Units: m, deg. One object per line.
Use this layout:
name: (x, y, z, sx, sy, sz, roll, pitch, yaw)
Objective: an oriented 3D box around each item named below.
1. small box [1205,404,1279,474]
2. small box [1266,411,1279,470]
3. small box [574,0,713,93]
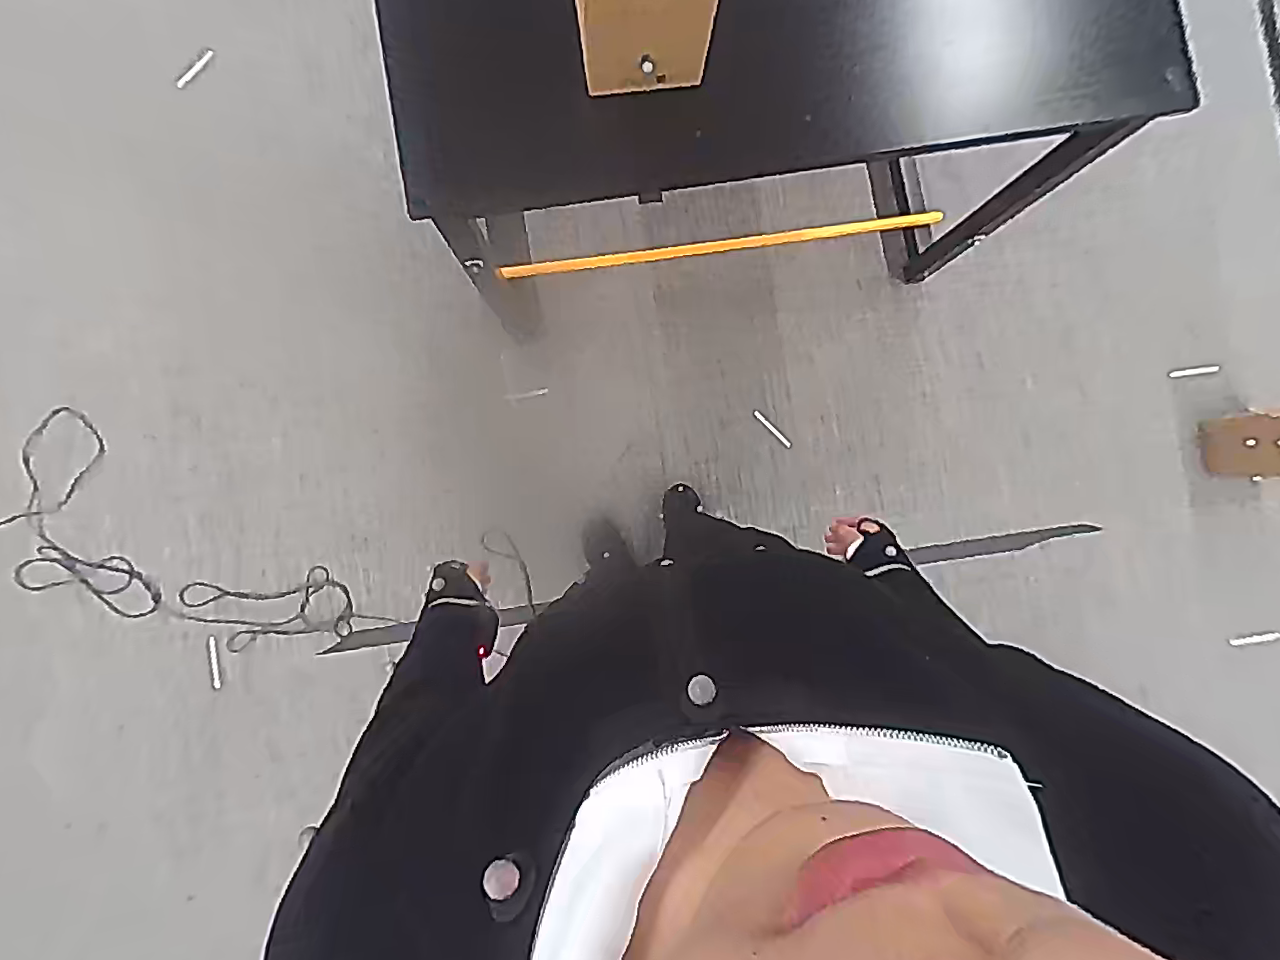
small box: (1.737, -0.116, 1.500, 0.168, 0.176, 0.179, -11, 90, -2)
small box: (1.741, -0.116, 1.338, 0.179, 0.176, 0.168, -13, 88, -1)
small box: (-0.005, -0.660, 0.713, 0.168, 0.176, 0.179, -8, 89, -2)
